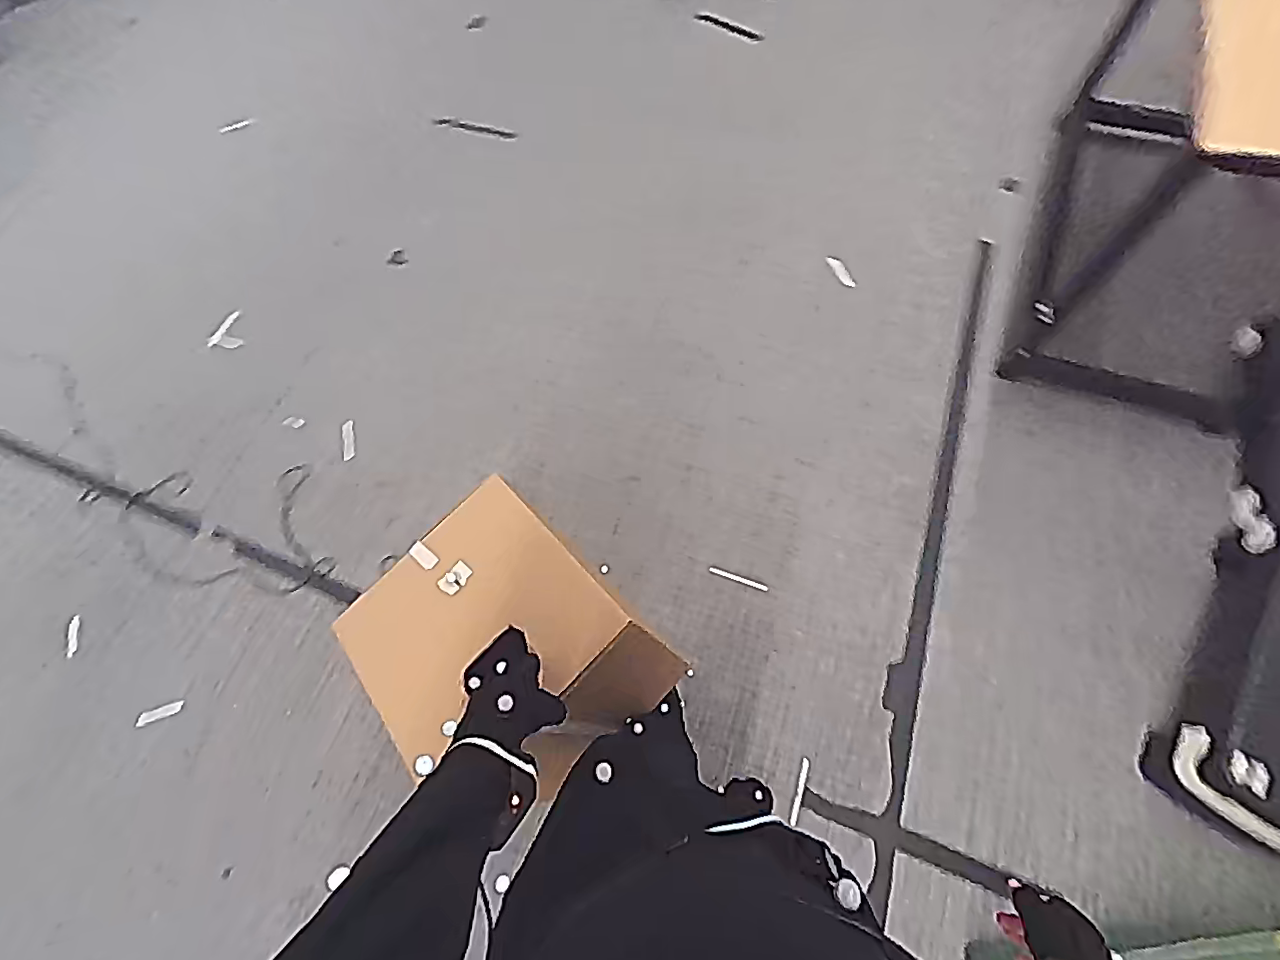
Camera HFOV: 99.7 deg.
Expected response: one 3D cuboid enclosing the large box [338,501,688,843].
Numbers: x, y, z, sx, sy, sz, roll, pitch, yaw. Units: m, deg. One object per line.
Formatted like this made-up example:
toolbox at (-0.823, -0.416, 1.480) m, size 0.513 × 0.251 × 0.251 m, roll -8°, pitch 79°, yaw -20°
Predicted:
large box at (-0.168, 0.294, 0.865) m, size 0.320 × 0.408 × 0.320 m, roll -46°, pitch 62°, yaw -8°
